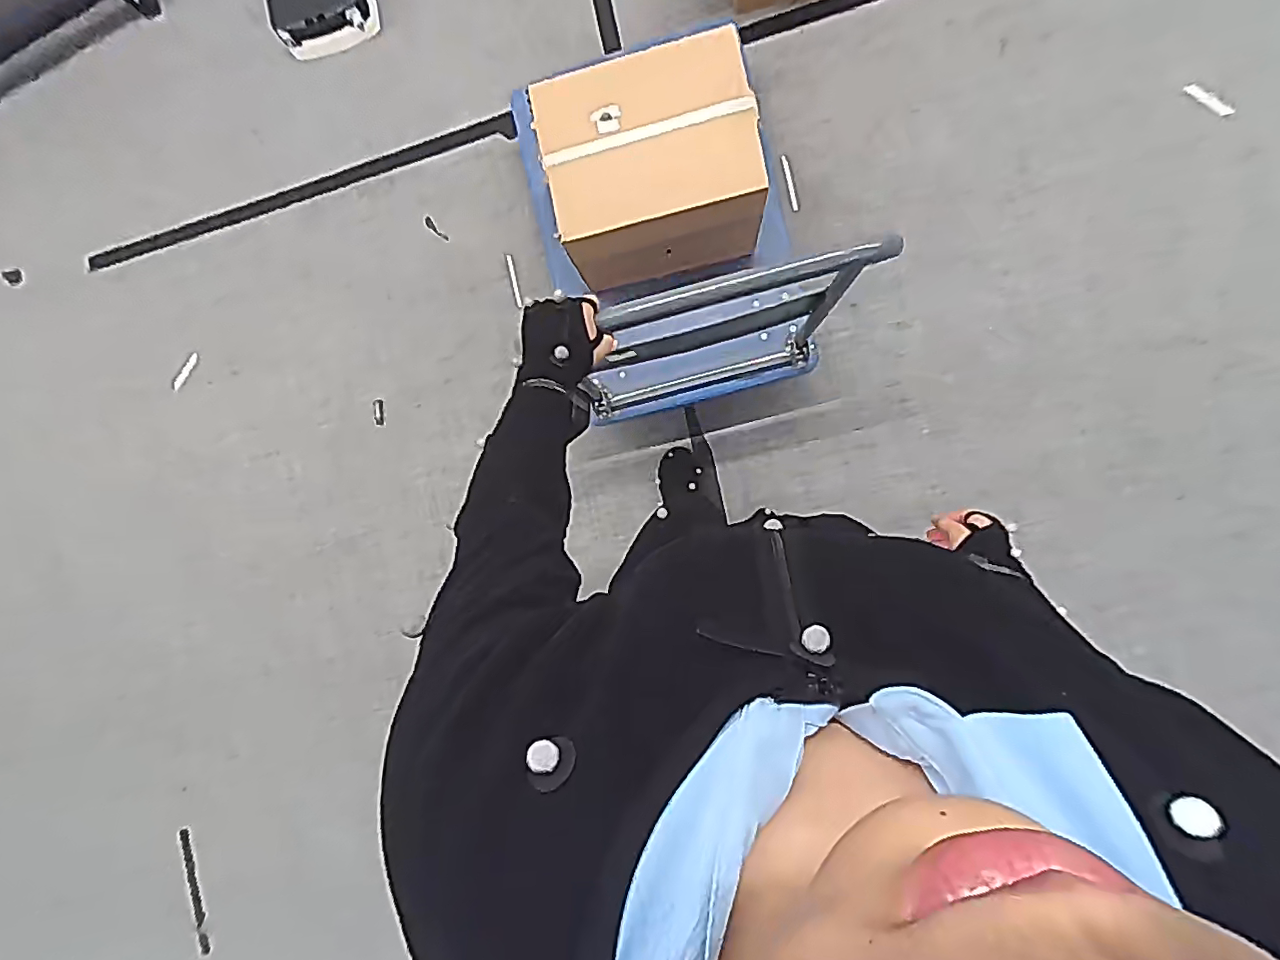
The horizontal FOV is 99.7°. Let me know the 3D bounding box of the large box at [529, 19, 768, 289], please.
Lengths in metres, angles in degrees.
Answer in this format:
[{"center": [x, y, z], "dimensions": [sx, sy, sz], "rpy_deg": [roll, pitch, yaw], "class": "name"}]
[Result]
[{"center": [0.030, -0.650, 1.152], "dimensions": [0.408, 0.320, 0.320], "rpy_deg": [-12, 89, 8], "class": "large box"}]
